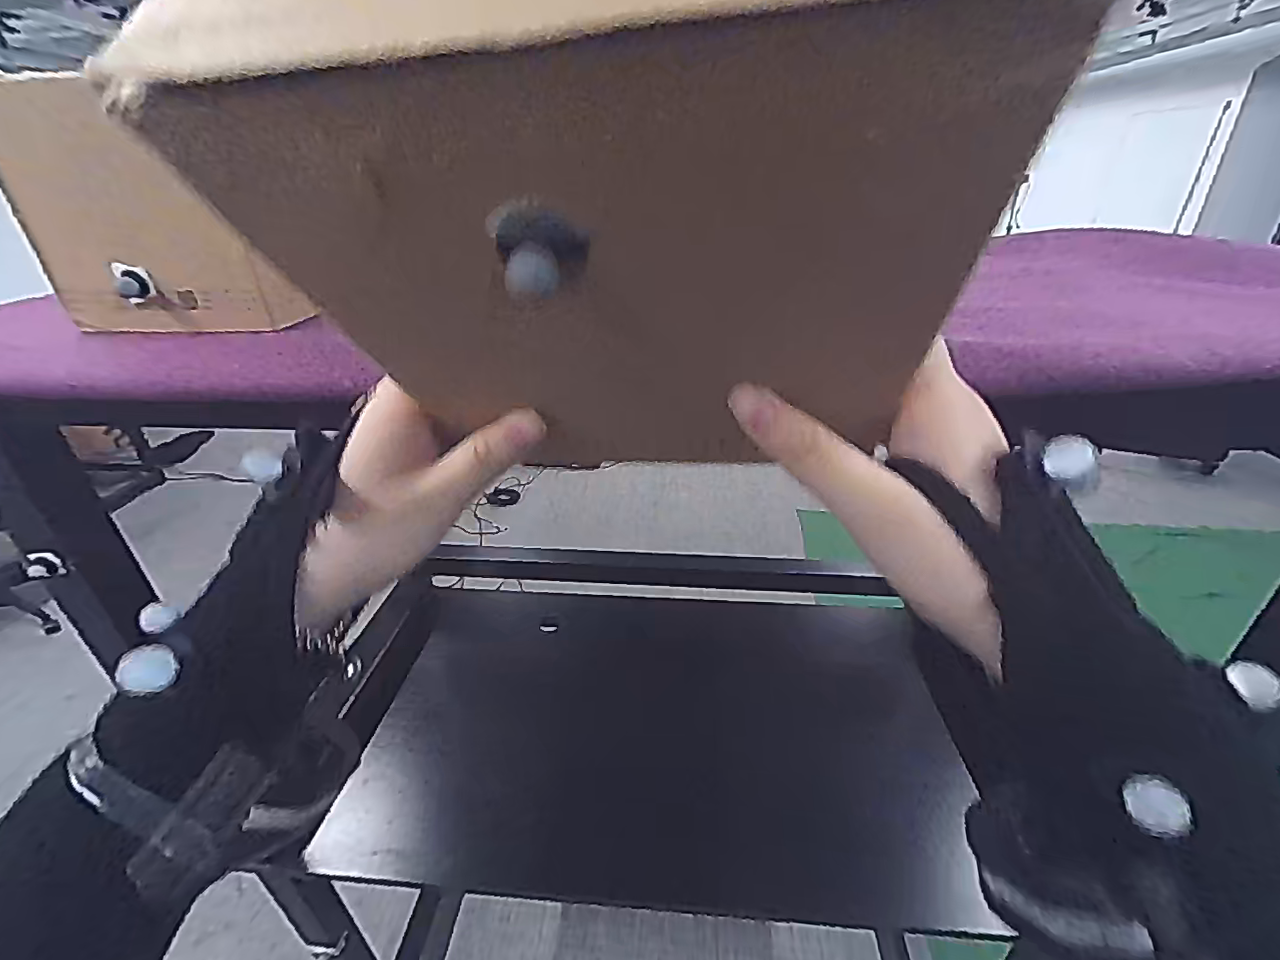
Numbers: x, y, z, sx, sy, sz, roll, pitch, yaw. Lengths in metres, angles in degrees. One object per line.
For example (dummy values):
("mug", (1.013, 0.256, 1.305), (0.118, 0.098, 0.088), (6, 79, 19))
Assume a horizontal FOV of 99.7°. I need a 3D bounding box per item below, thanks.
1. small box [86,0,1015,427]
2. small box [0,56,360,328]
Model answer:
("small box", (-0.001, -0.127, 0.188), (0.179, 0.176, 0.168), (1, 68, 10))
("small box", (-0.362, -0.231, 0.451), (0.168, 0.176, 0.179), (-1, 30, 2))
